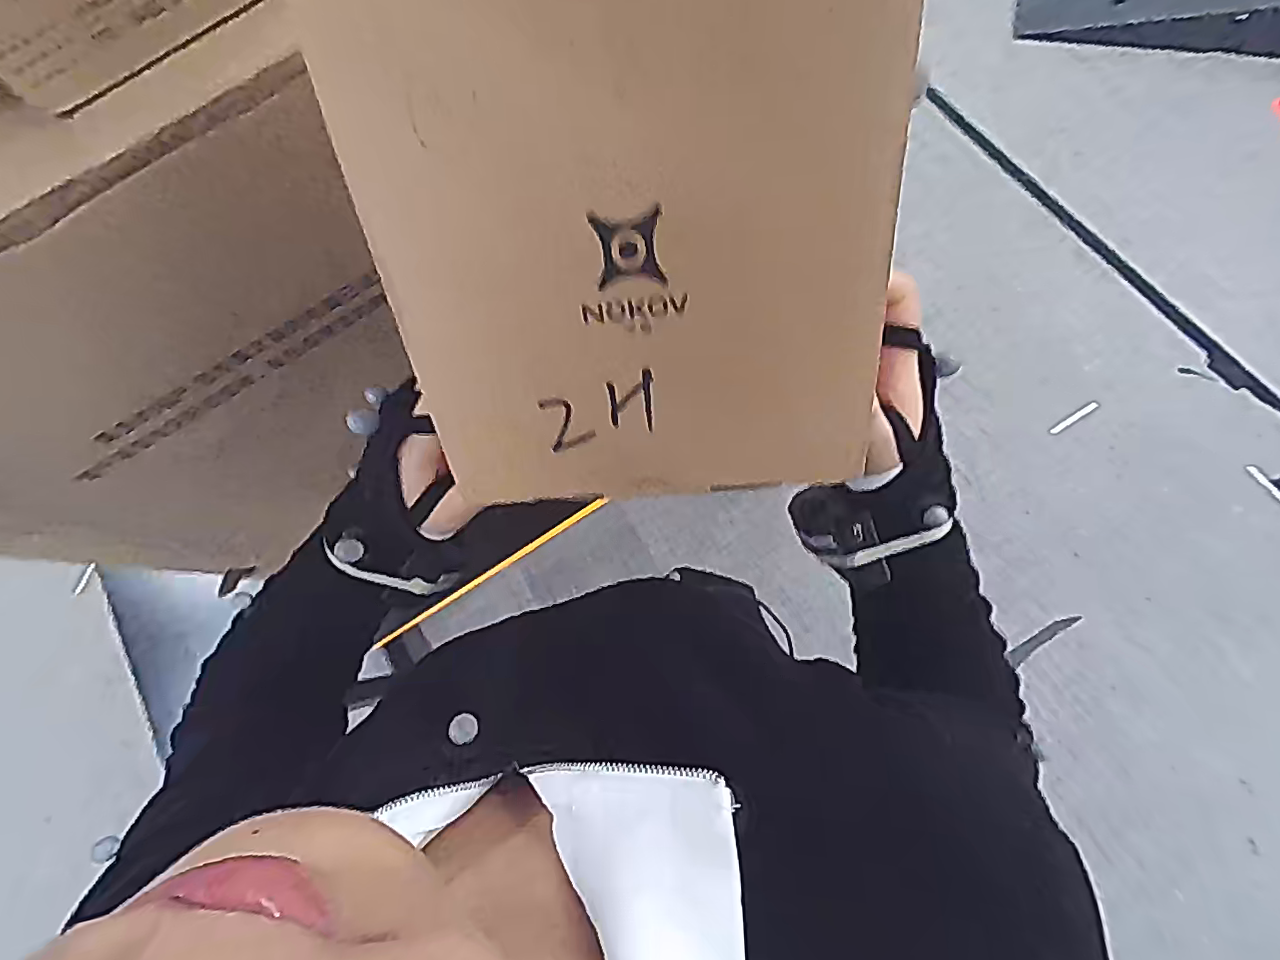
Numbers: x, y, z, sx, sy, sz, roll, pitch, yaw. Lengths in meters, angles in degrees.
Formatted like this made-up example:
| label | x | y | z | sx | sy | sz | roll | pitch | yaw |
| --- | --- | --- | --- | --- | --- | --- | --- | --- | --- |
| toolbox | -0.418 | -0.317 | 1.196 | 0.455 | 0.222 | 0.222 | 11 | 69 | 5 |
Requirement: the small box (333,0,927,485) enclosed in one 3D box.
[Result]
| label | x | y | z | sx | sy | sz | roll | pitch | yaw |
| --- | --- | --- | --- | --- | --- | --- | --- | --- | --- |
| small box | 0.006 | -0.118 | 0.251 | 0.168 | 0.179 | 0.176 | -3 | 33 | 7 |
